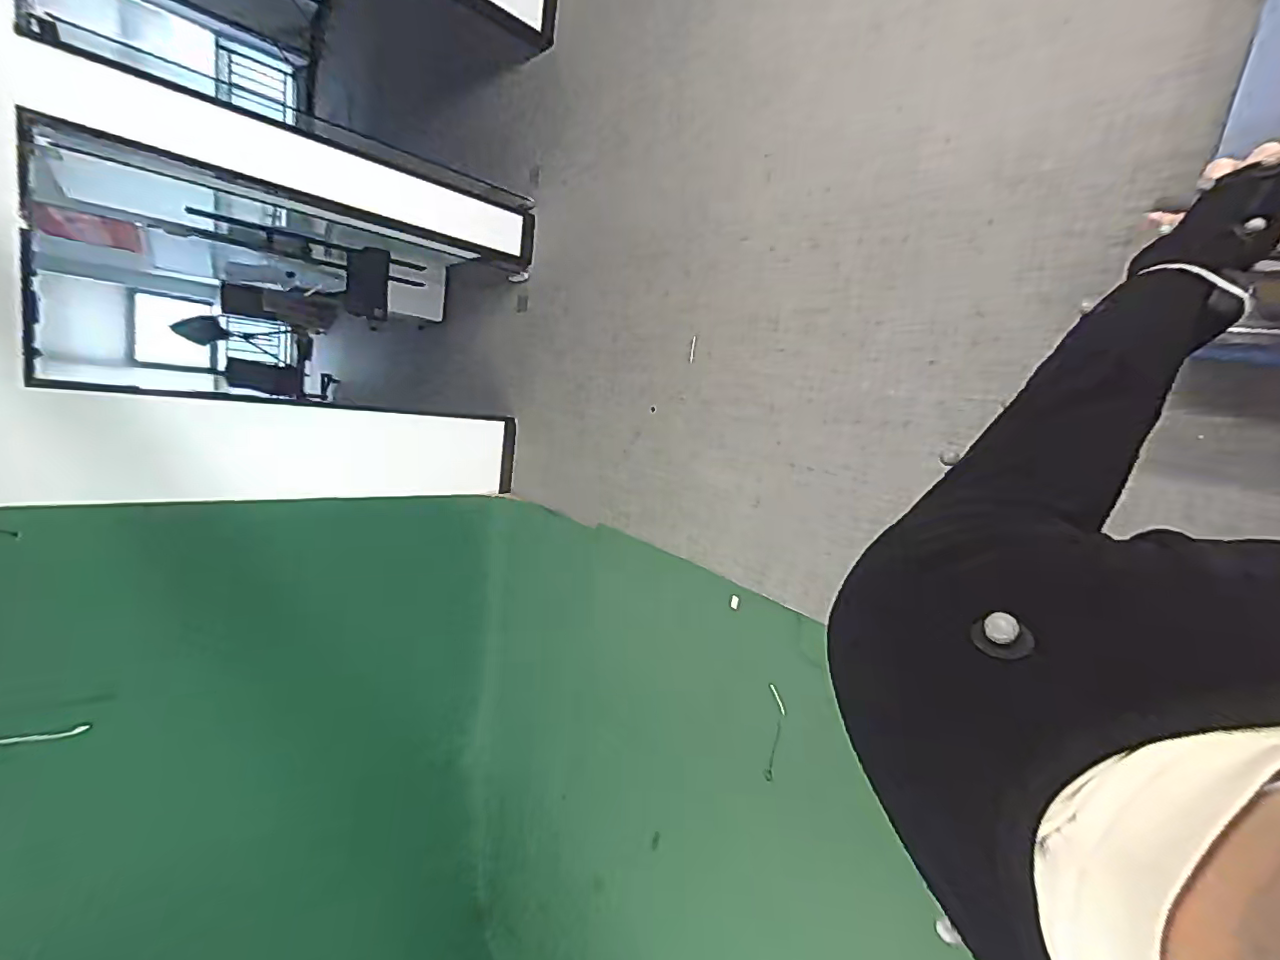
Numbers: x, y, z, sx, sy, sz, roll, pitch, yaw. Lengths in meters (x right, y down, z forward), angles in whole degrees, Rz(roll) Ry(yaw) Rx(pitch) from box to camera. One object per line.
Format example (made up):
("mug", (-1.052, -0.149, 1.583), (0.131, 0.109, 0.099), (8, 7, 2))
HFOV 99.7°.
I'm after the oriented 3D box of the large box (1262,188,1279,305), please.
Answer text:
("large box", (1.141, -0.477, 0.737), (0.320, 0.320, 0.408), (21, 104, 46))
